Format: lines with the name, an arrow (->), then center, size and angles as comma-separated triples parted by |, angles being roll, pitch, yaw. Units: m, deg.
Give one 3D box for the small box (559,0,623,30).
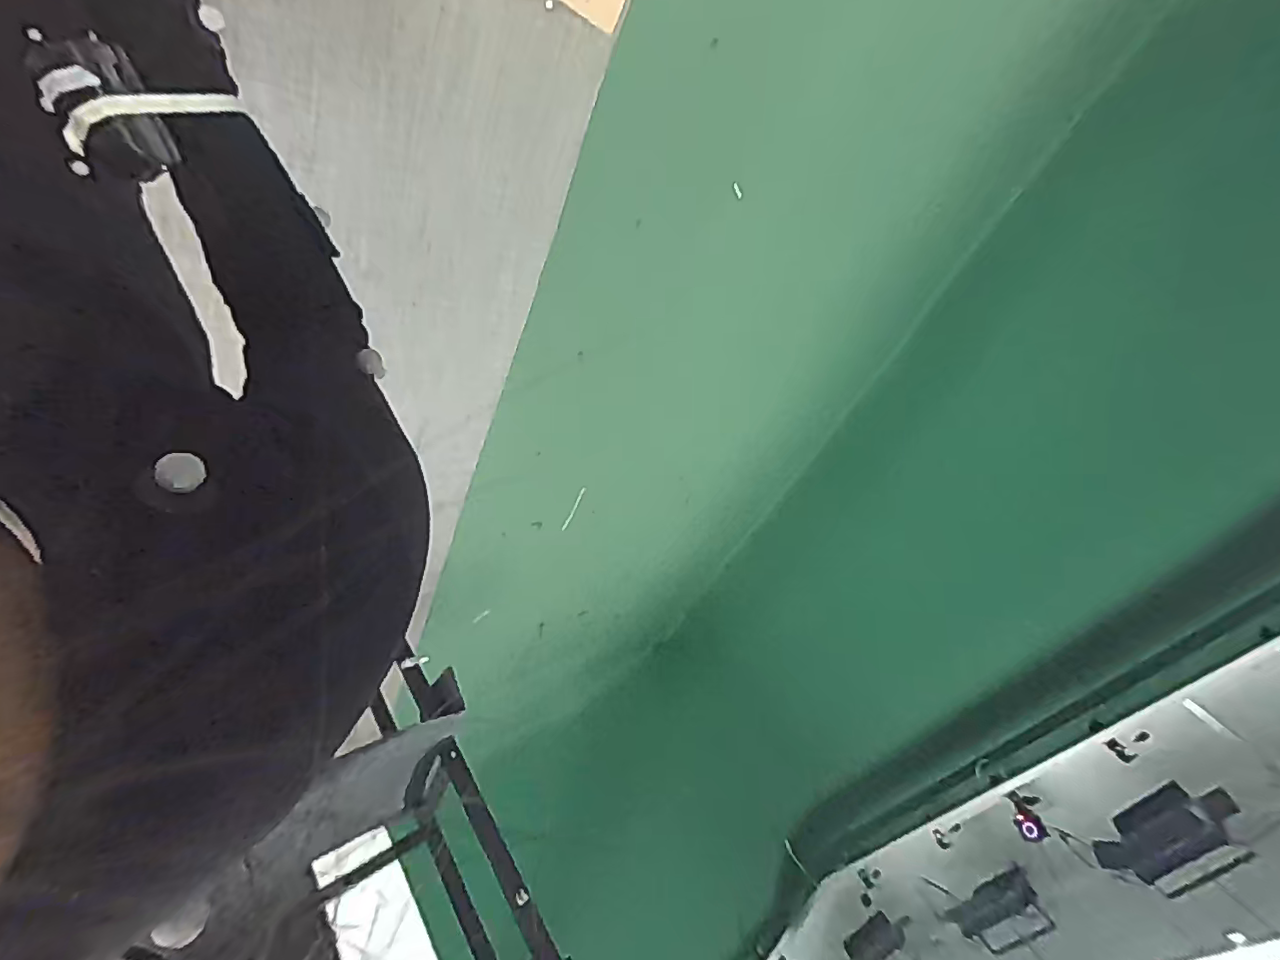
small box -> -0.123, -1.063, 1.077 | 0.168, 0.176, 0.179 | -8, 140, -48
